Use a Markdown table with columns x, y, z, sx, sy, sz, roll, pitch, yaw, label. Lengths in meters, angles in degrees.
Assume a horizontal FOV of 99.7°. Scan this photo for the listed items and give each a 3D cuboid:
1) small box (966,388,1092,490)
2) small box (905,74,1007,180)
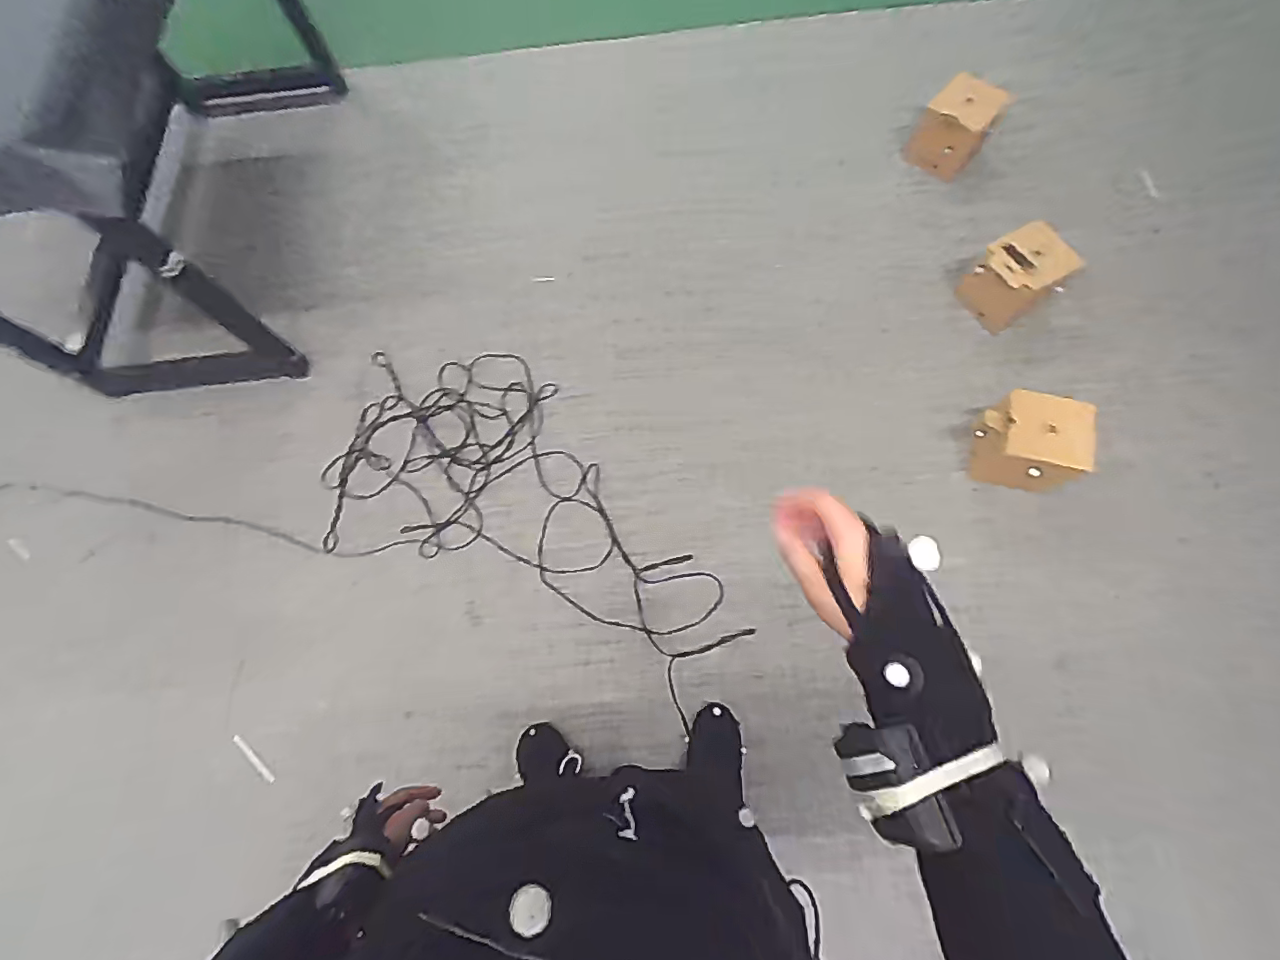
| x | y | z | sx | sy | sz | roll | pitch | yaw | label |
| --- | --- | --- | --- | --- | --- | --- | --- | --- | --- |
| 0.894 | -0.087 | 1.251 | 0.179 | 0.176 | 0.168 | 14 | 72 | 8 | small box |
| 0.908 | -1.021 | 1.575 | 0.168 | 0.176 | 0.179 | 40 | 76 | 14 | small box |
